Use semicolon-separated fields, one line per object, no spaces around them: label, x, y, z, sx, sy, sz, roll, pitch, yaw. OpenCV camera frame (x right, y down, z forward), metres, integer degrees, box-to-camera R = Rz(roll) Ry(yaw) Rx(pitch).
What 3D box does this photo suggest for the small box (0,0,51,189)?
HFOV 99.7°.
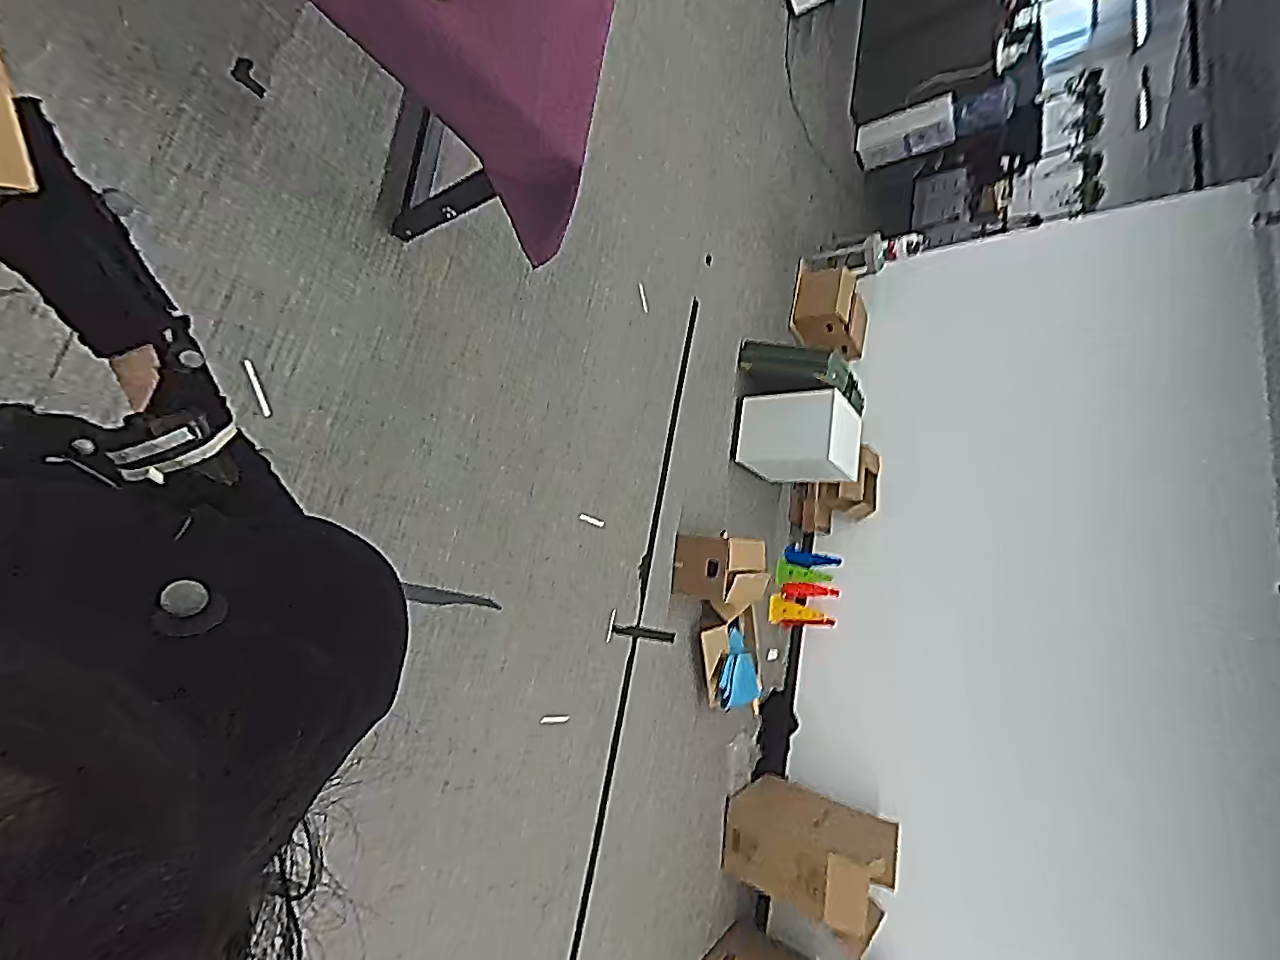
small box;-0.418;-0.233;0.228;0.168;0.176;0.179;-29;127;-56
